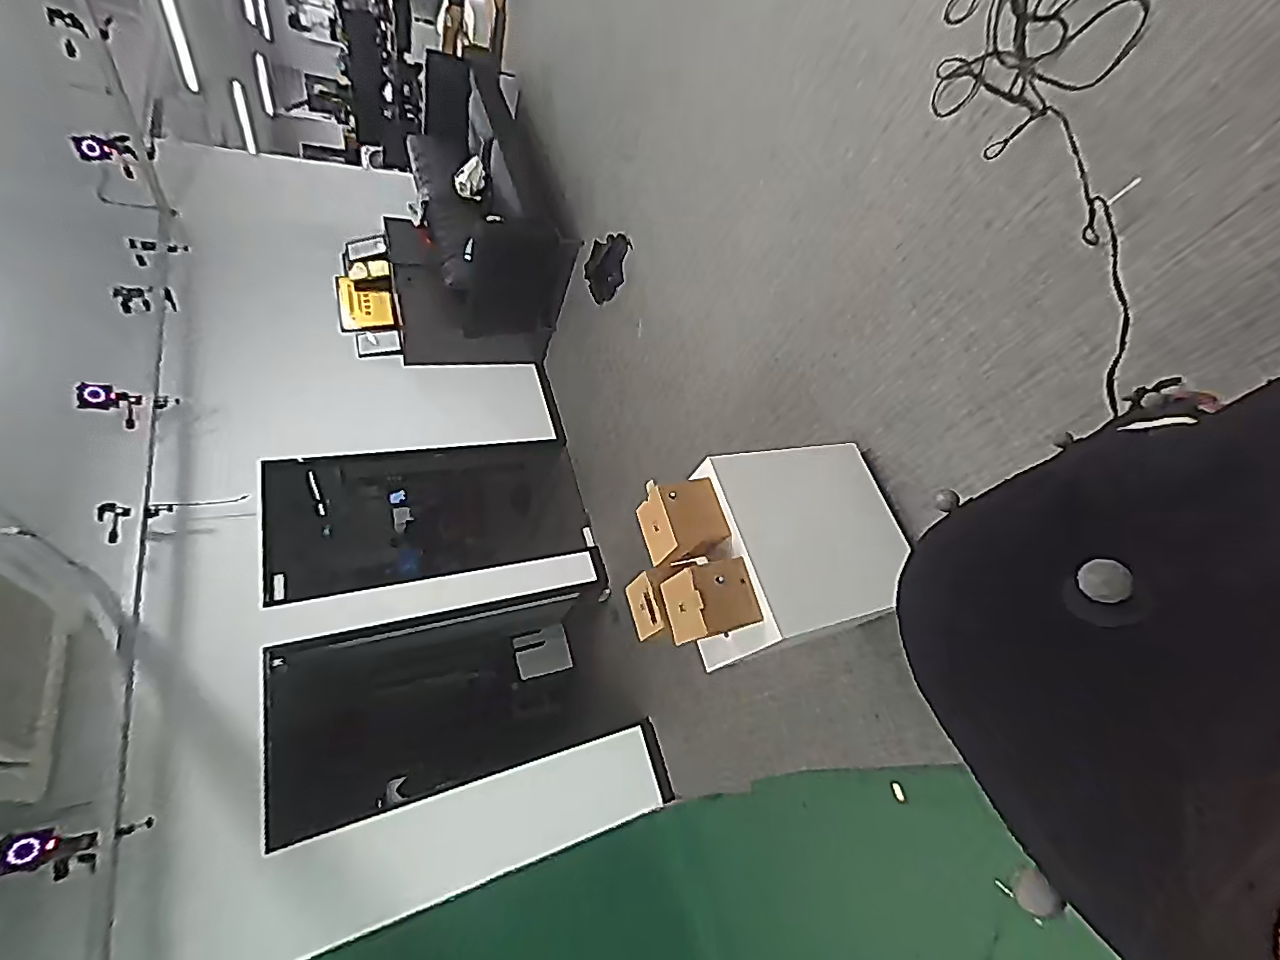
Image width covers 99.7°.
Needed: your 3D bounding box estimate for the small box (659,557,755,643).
[{"bbox_3d":[0.174,0.305,1.373,0.179,0.176,0.168,130,130,-57],"label":"small box"}]
